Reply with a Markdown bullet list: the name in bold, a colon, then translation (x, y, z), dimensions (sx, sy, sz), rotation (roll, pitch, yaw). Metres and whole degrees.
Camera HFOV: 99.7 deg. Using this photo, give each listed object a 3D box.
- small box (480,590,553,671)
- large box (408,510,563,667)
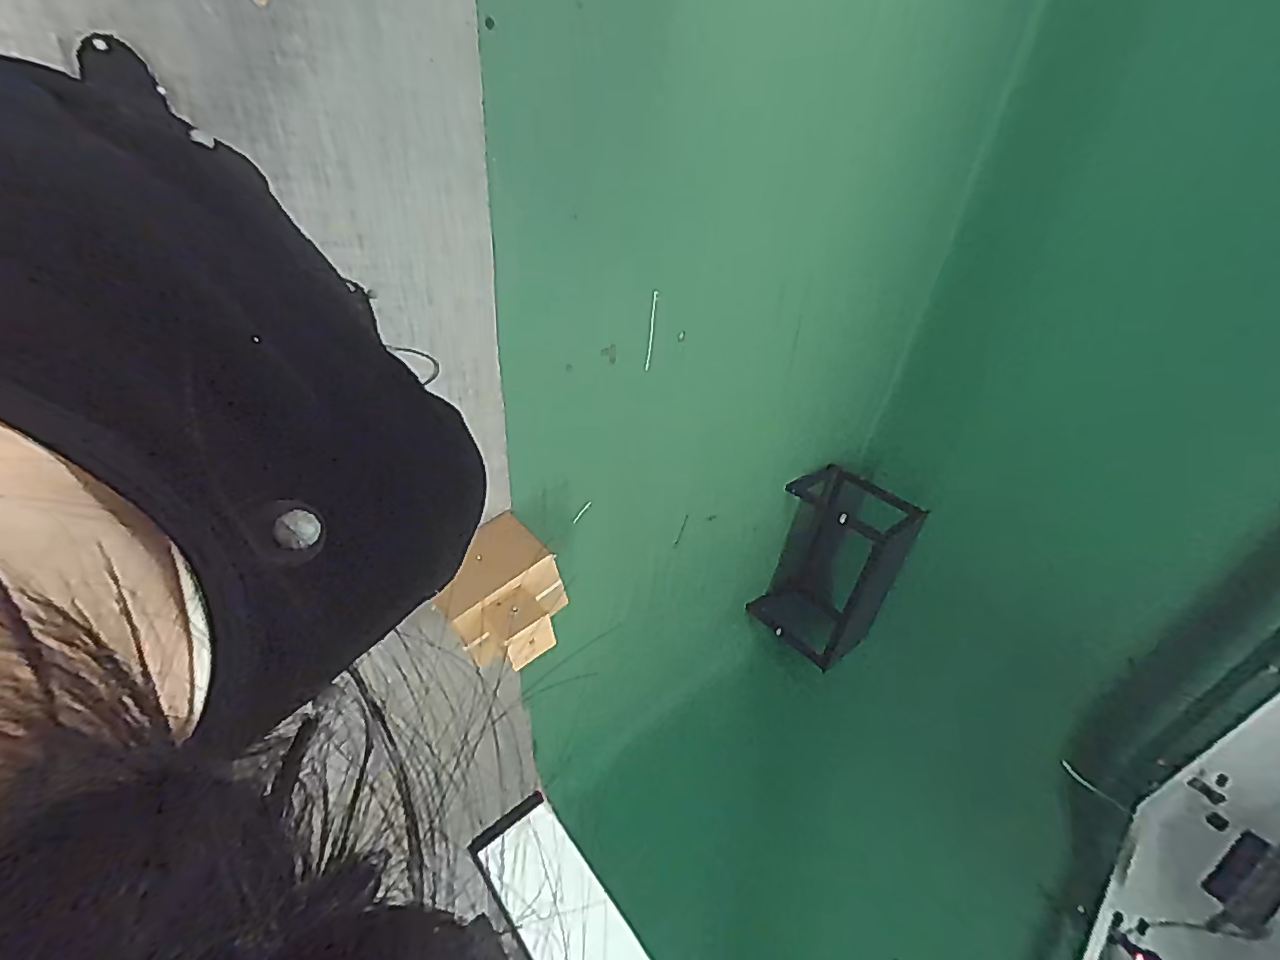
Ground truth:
- **small box**: translation (-0.416, 0.495, 1.817), dimensions (0.168, 0.176, 0.179), rotation (-29, 137, -29)
- **large box**: translation (-0.557, 0.389, 1.994), dimensions (0.408, 0.320, 0.320), rotation (-35, 141, -26)
